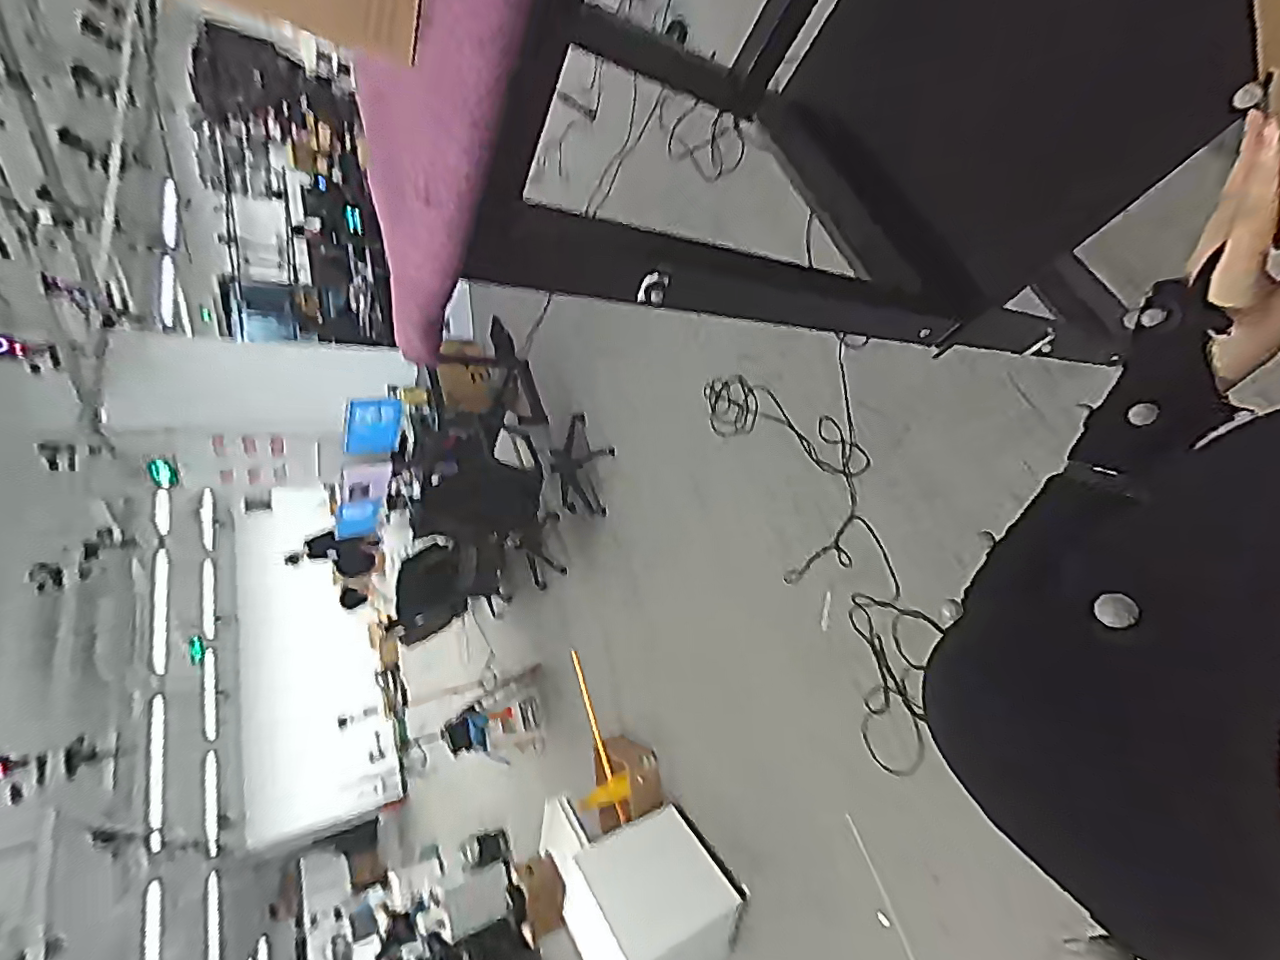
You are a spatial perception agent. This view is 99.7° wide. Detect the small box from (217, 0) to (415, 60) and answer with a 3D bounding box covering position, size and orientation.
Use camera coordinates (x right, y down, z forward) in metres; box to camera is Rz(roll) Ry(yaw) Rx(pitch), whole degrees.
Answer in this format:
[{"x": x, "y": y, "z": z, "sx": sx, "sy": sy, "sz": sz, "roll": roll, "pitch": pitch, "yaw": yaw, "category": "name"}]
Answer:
[{"x": -0.204, "y": -0.360, "z": 0.266, "sx": 0.179, "sy": 0.176, "sz": 0.168, "roll": -50, "pitch": 54, "yaw": 47, "category": "small box"}]
